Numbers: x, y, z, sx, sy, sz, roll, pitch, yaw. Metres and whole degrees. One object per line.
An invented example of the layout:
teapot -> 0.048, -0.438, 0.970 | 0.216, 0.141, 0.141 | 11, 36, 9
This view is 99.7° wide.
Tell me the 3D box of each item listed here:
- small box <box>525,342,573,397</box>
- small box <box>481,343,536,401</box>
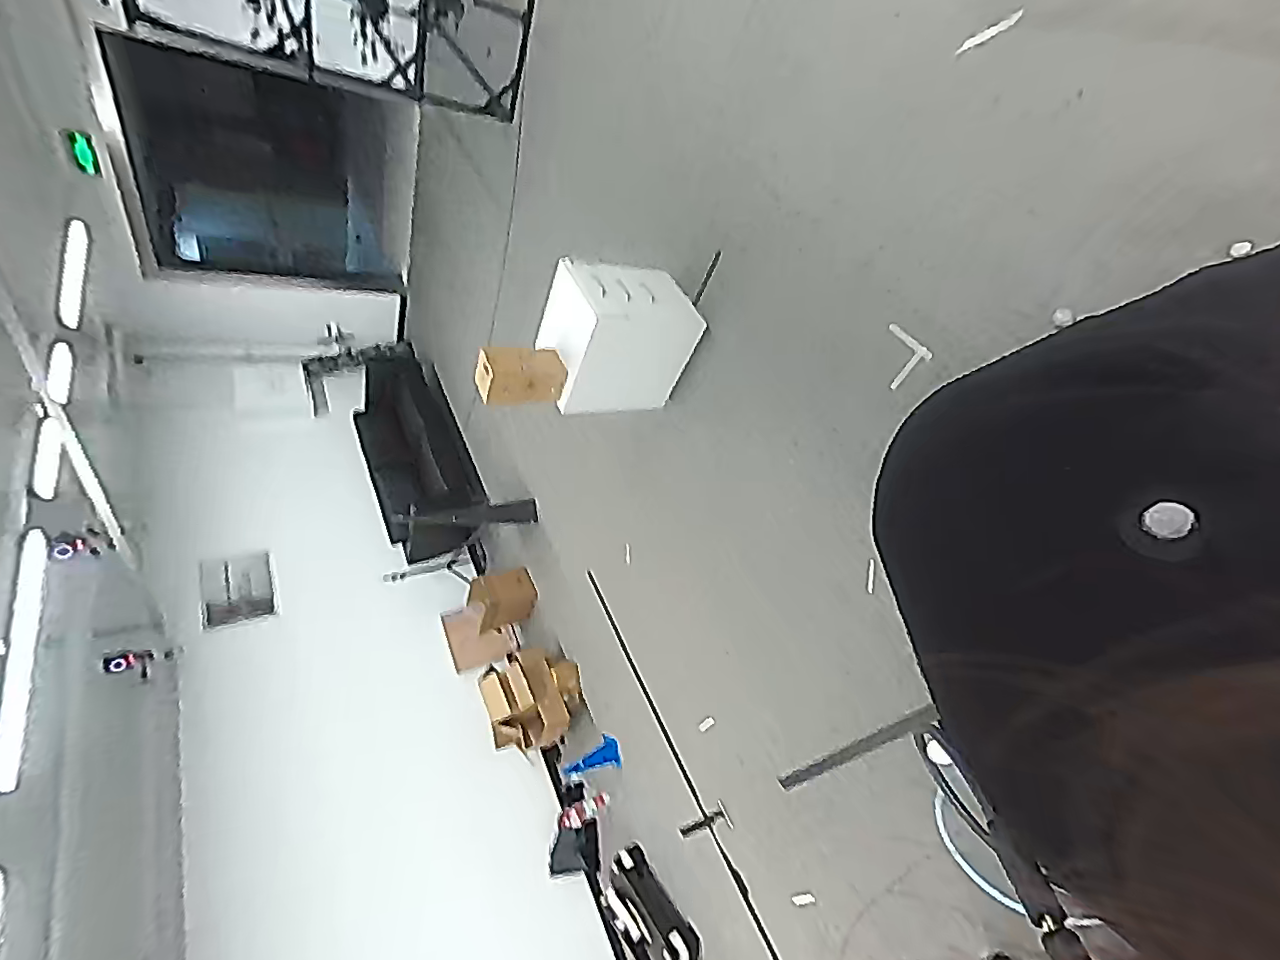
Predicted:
small box -> -0.411, -0.478, 2.347 | 0.179, 0.176, 0.168 | 61, 142, 29
small box -> -0.546, -0.453, 2.257 | 0.168, 0.176, 0.179 | 62, 143, 29
